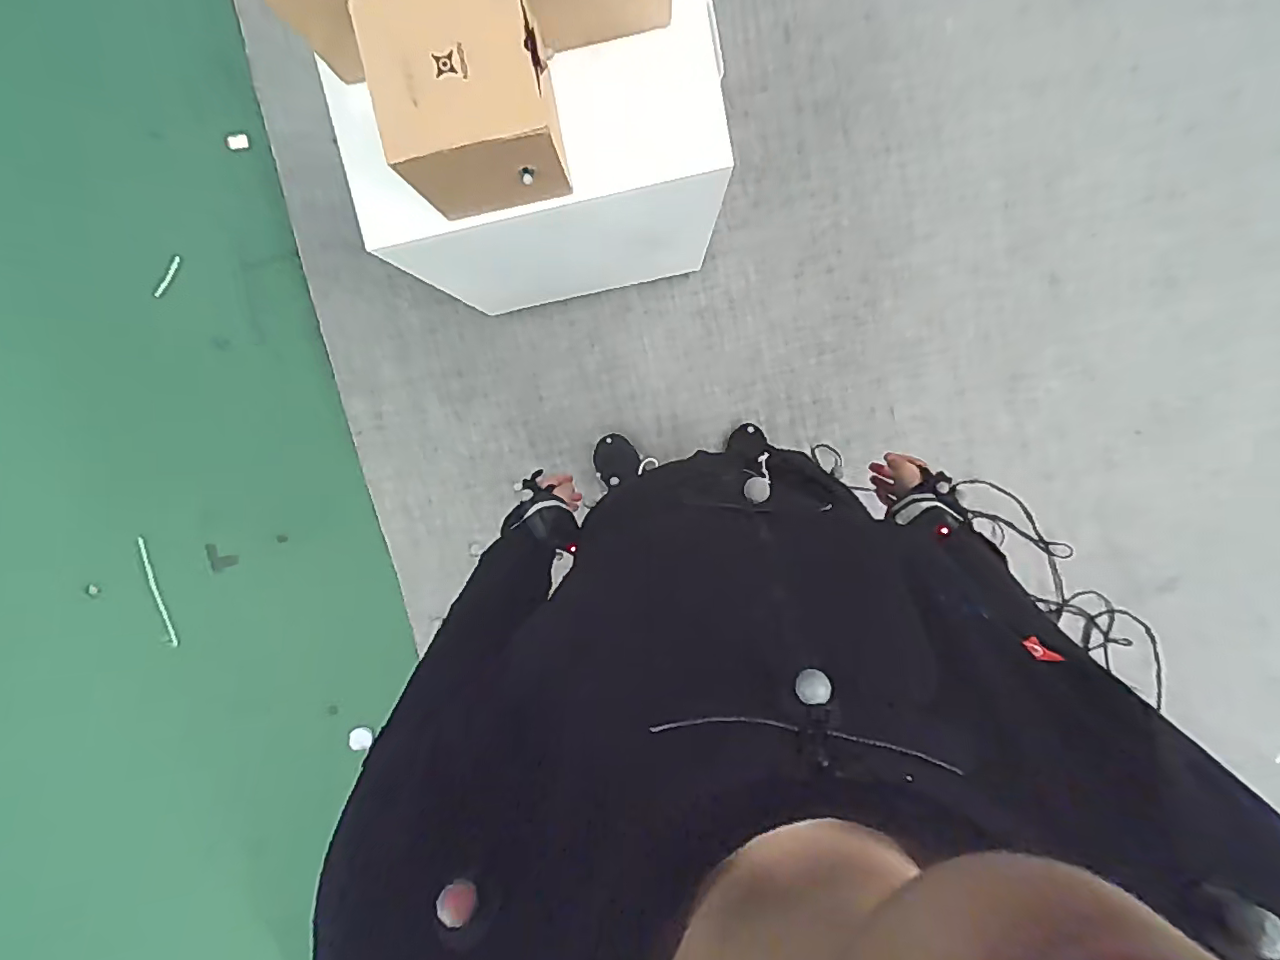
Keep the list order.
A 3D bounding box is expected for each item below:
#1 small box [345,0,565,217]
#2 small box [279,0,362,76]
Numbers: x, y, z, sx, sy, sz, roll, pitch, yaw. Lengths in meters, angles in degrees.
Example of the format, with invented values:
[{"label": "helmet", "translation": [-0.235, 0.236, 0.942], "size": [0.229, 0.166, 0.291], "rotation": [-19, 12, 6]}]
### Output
[{"label": "small box", "translation": [-0.192, -0.430, 0.621], "size": [0.179, 0.176, 0.168], "rotation": [-12, 96, 4]}, {"label": "small box", "translation": [-0.323, -0.602, 0.600], "size": [0.168, 0.176, 0.179], "rotation": [-11, 99, 2]}]
